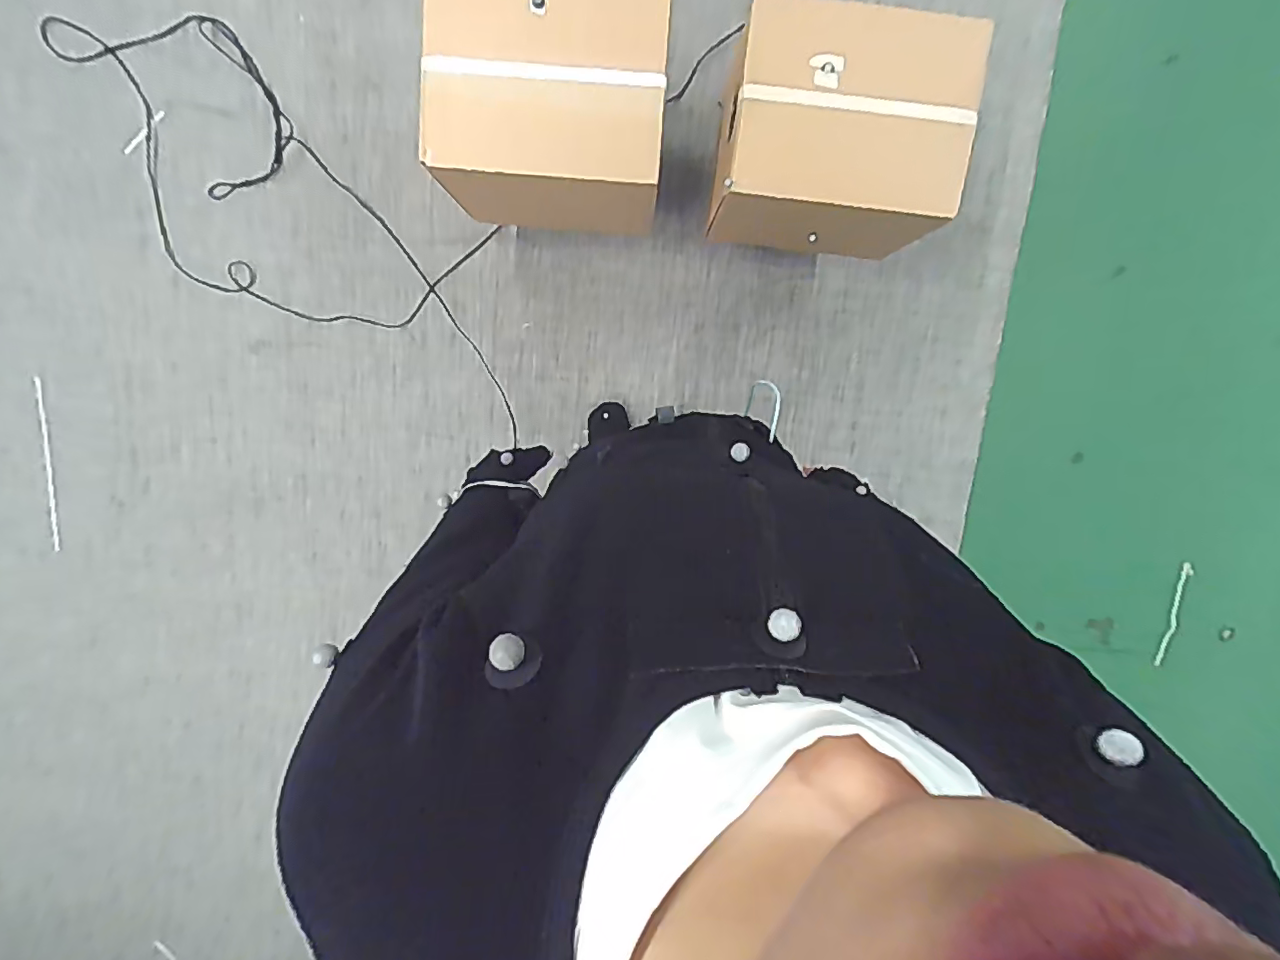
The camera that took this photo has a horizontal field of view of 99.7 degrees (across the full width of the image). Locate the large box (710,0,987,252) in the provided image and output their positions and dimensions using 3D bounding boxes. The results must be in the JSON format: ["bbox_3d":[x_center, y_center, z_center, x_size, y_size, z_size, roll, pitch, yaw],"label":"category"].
[{"bbox_3d":[0.372,-0.663,1.074,0.408,0.320,0.320,6,99,-1],"label":"large box"}]
